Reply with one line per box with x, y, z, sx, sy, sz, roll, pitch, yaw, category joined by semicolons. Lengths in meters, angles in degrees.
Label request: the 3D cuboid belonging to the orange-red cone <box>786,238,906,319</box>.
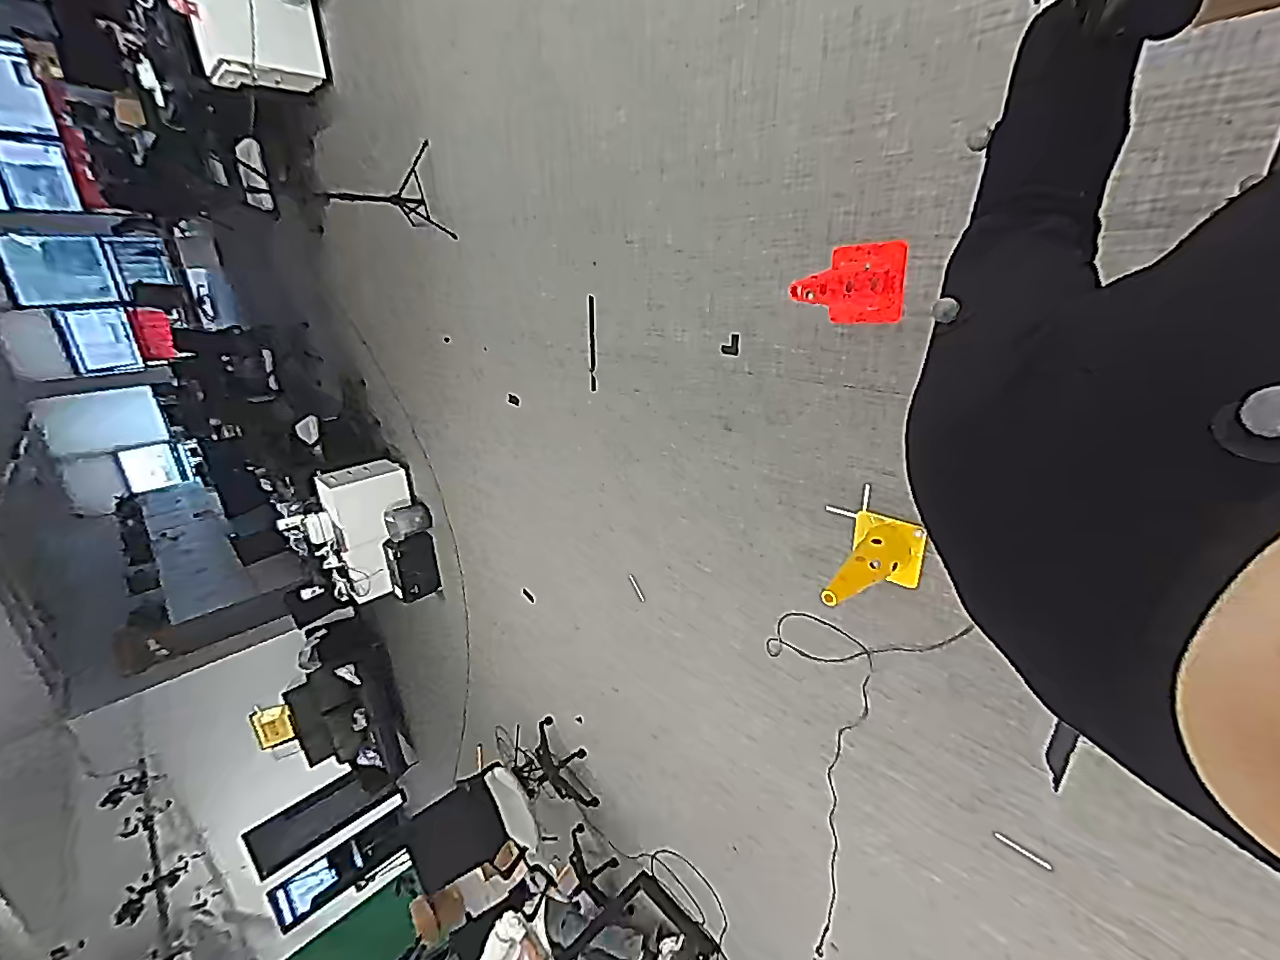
0.471;-0.476;1.317;0.198;0.360;0.199;18;121;44;orange-red cone
